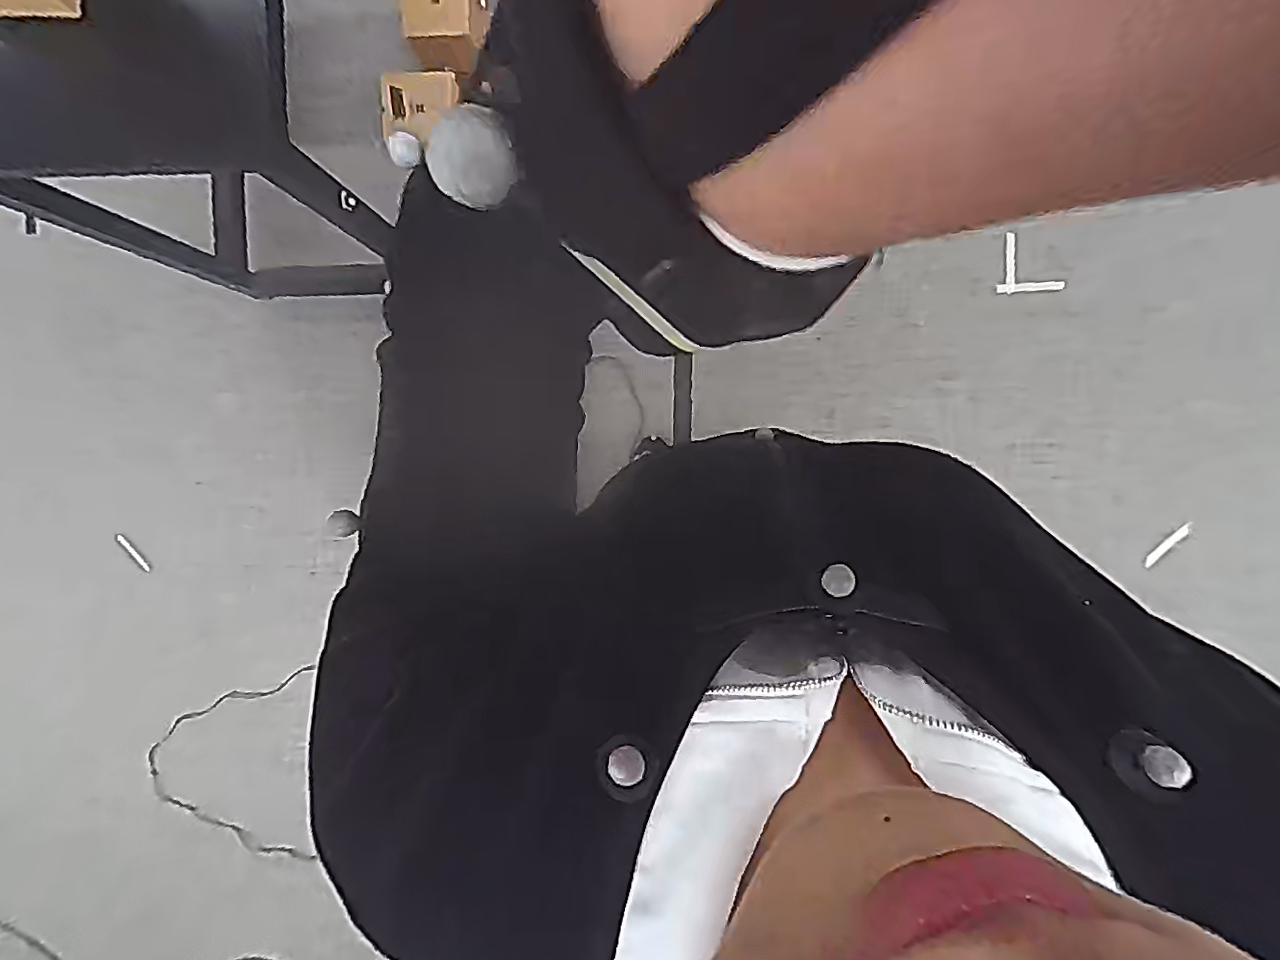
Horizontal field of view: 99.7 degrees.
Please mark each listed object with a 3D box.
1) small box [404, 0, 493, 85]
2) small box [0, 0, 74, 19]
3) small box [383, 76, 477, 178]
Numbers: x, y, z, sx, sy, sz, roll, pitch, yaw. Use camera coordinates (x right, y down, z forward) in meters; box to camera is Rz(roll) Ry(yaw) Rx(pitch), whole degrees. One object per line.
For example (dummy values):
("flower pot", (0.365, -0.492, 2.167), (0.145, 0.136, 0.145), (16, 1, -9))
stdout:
("small box", (-0.482, -1.153, 1.377), (0.168, 0.176, 0.179), (-1, 94, 4))
("small box", (-0.875, -0.736, 0.689), (0.179, 0.176, 0.168), (3, 93, 3))
("small box", (-0.536, -0.900, 1.394), (0.179, 0.176, 0.168), (-1, 94, 2))
